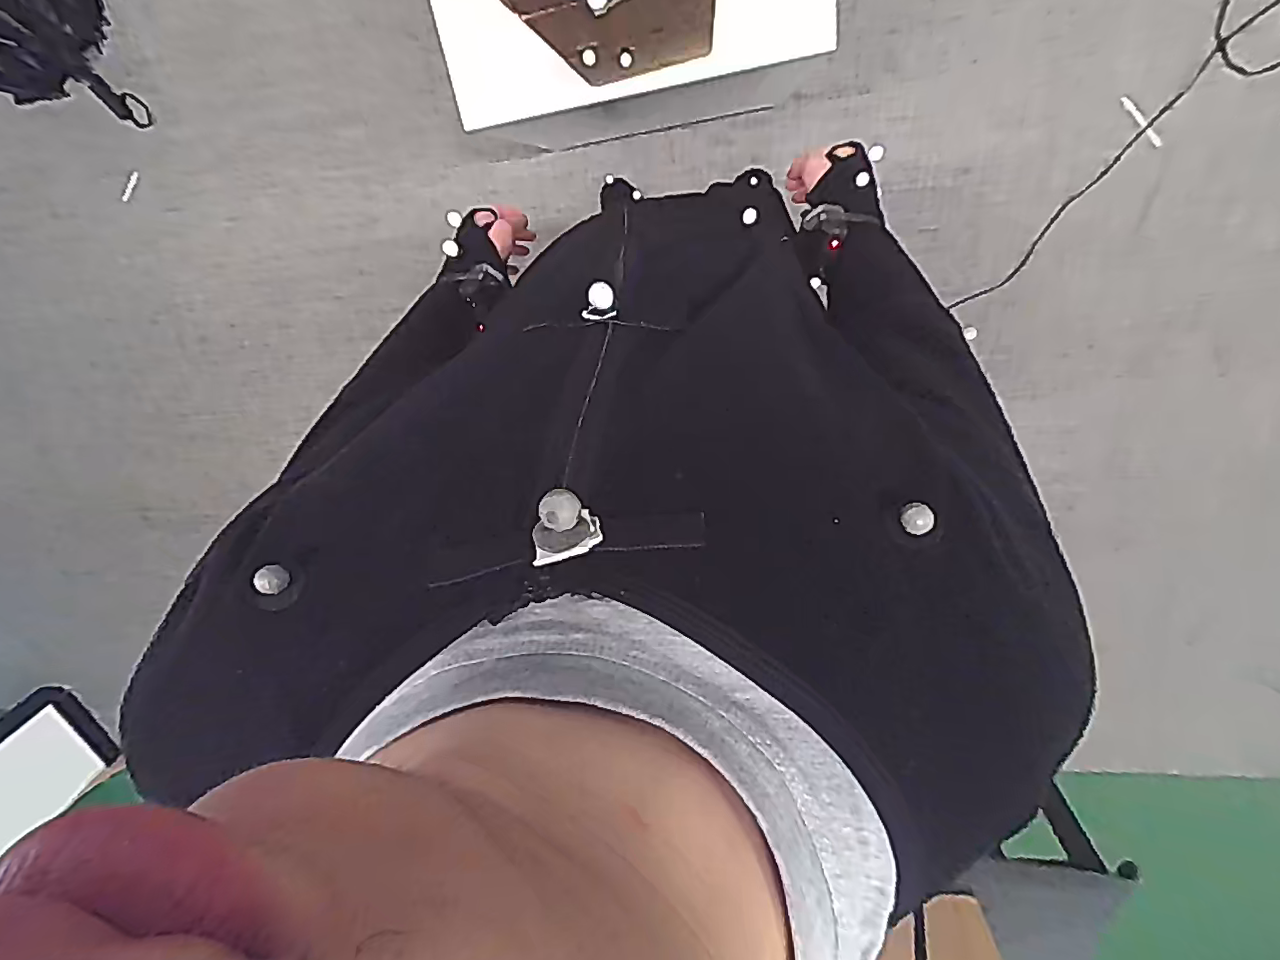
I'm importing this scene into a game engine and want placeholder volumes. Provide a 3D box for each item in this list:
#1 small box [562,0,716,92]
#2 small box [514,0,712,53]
[{"bbox_3d":[-0.011,-0.572,0.605,0.168,0.176,0.179,-9,115,14],"label":"small box"},{"bbox_3d":[-0.028,-0.497,0.459,0.168,0.176,0.179,-8,115,10],"label":"small box"}]
